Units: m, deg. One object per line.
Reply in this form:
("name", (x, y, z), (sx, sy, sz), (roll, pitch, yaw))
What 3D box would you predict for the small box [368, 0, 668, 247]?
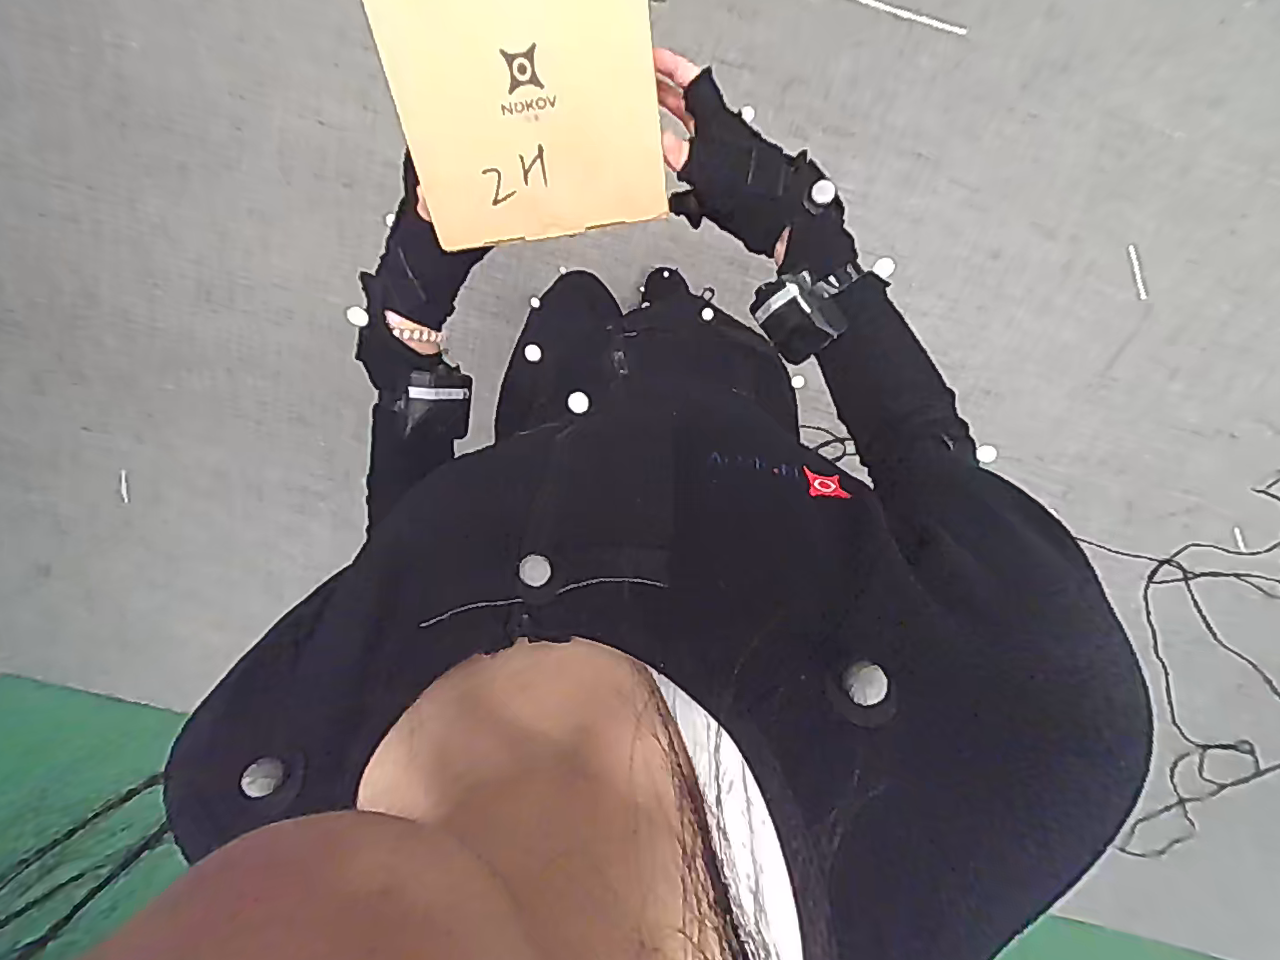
("small box", (-0.073, -0.287, 0.398), (0.168, 0.176, 0.179), (-6, 123, 3))
